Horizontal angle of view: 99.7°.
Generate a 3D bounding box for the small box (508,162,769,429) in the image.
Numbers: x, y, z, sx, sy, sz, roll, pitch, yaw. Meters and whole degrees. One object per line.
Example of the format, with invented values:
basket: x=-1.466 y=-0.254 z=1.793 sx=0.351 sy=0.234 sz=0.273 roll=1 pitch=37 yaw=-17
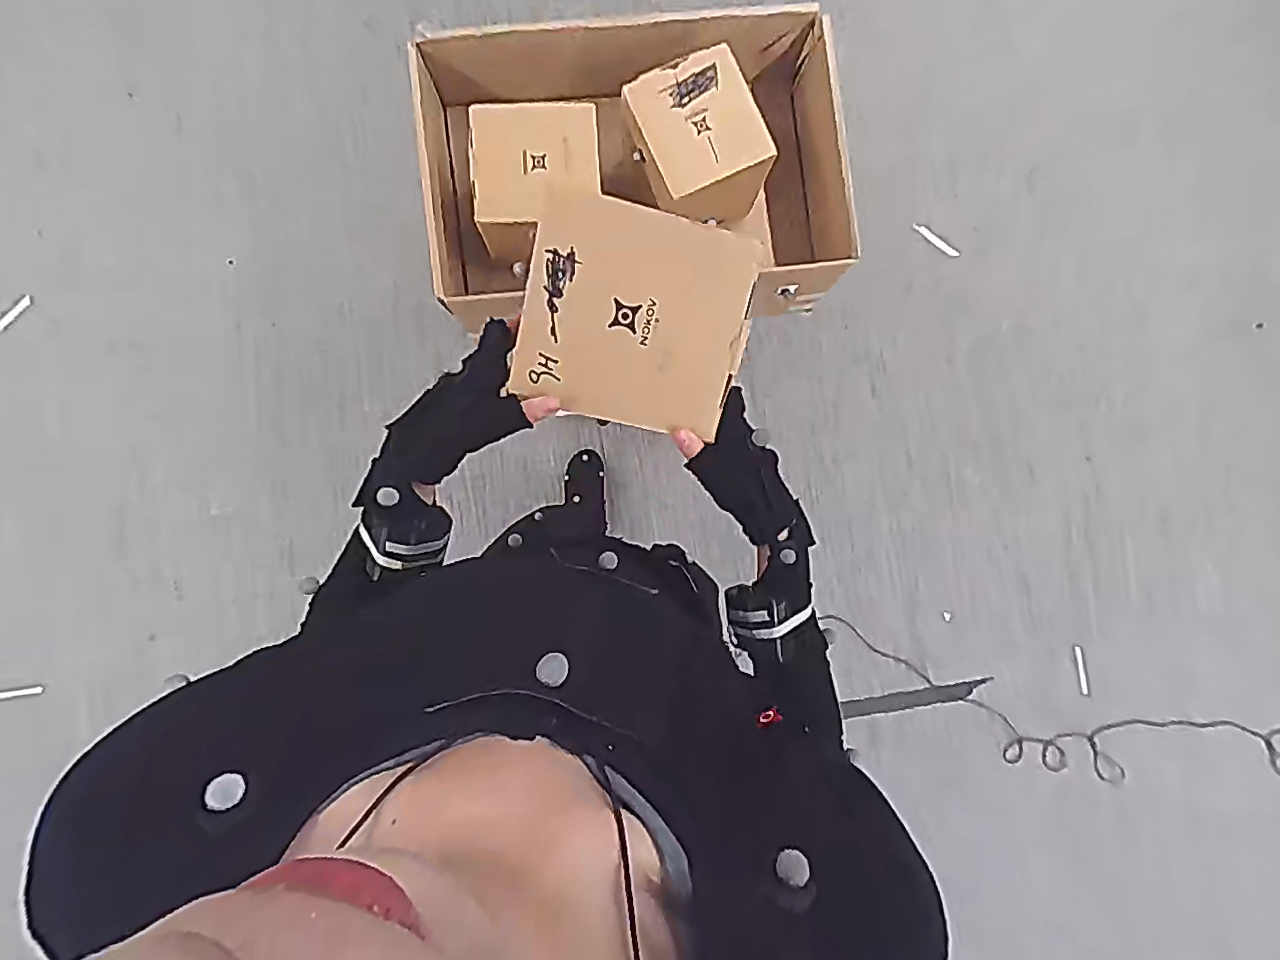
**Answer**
small box: x=-0.011 y=-0.153 z=0.496 sx=0.179 sy=0.176 sz=0.168 roll=12 pitch=100 yaw=-9
